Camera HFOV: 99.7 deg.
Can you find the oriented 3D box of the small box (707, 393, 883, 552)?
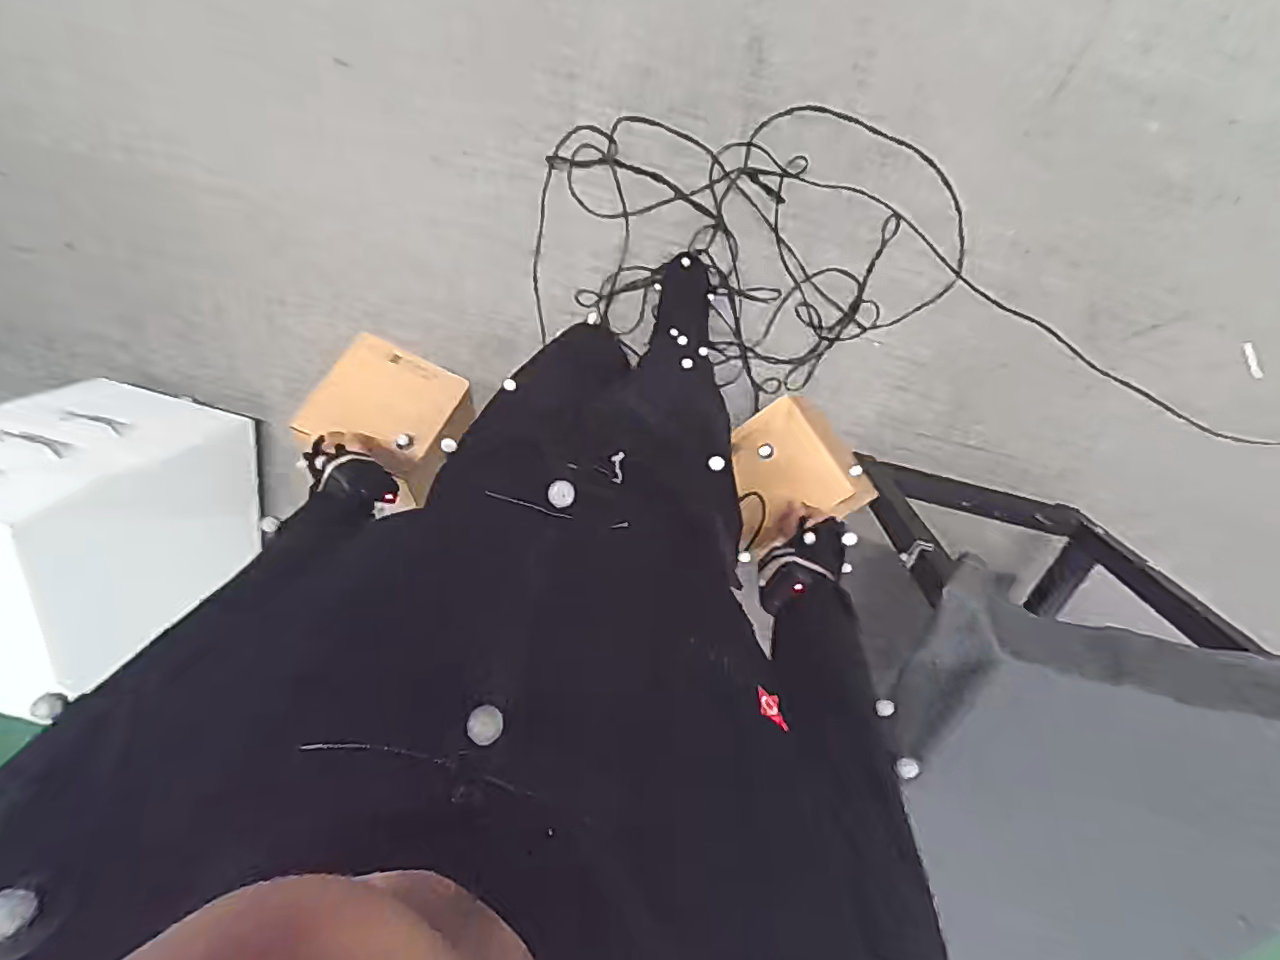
[{"bbox_3d":[0.231,-0.010,0.808,0.168,0.179,0.176,-36,70,26],"label":"small box"}]
